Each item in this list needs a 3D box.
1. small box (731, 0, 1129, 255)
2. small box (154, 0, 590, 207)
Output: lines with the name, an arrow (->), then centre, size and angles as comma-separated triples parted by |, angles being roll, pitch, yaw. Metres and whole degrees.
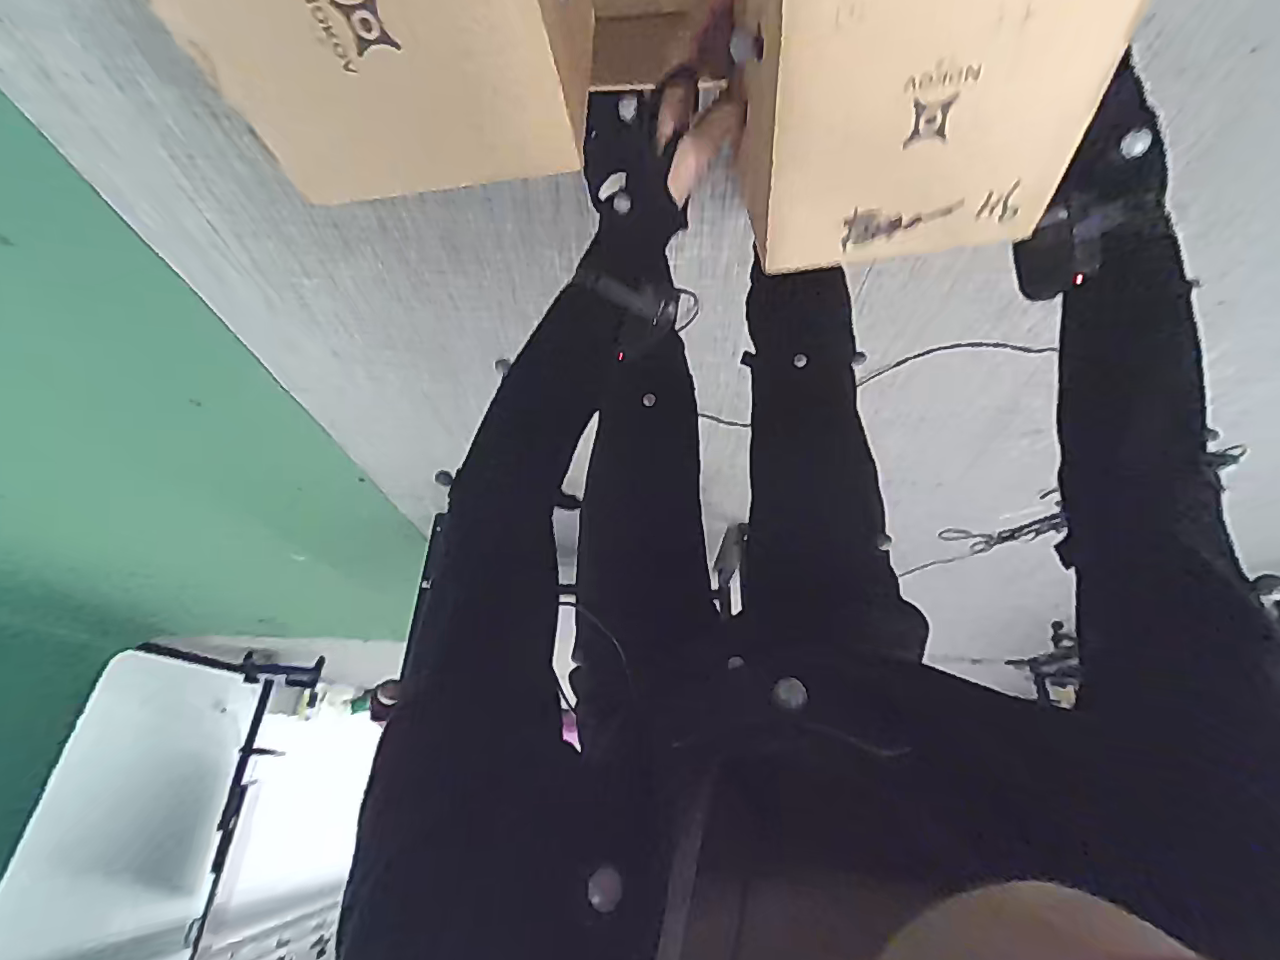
small box -> 0.147, -0.268, 0.323 | 0.168, 0.176, 0.179 | -5, 145, 5
small box -> -0.128, -0.282, 0.287 | 0.179, 0.176, 0.168 | -2, 153, 9
